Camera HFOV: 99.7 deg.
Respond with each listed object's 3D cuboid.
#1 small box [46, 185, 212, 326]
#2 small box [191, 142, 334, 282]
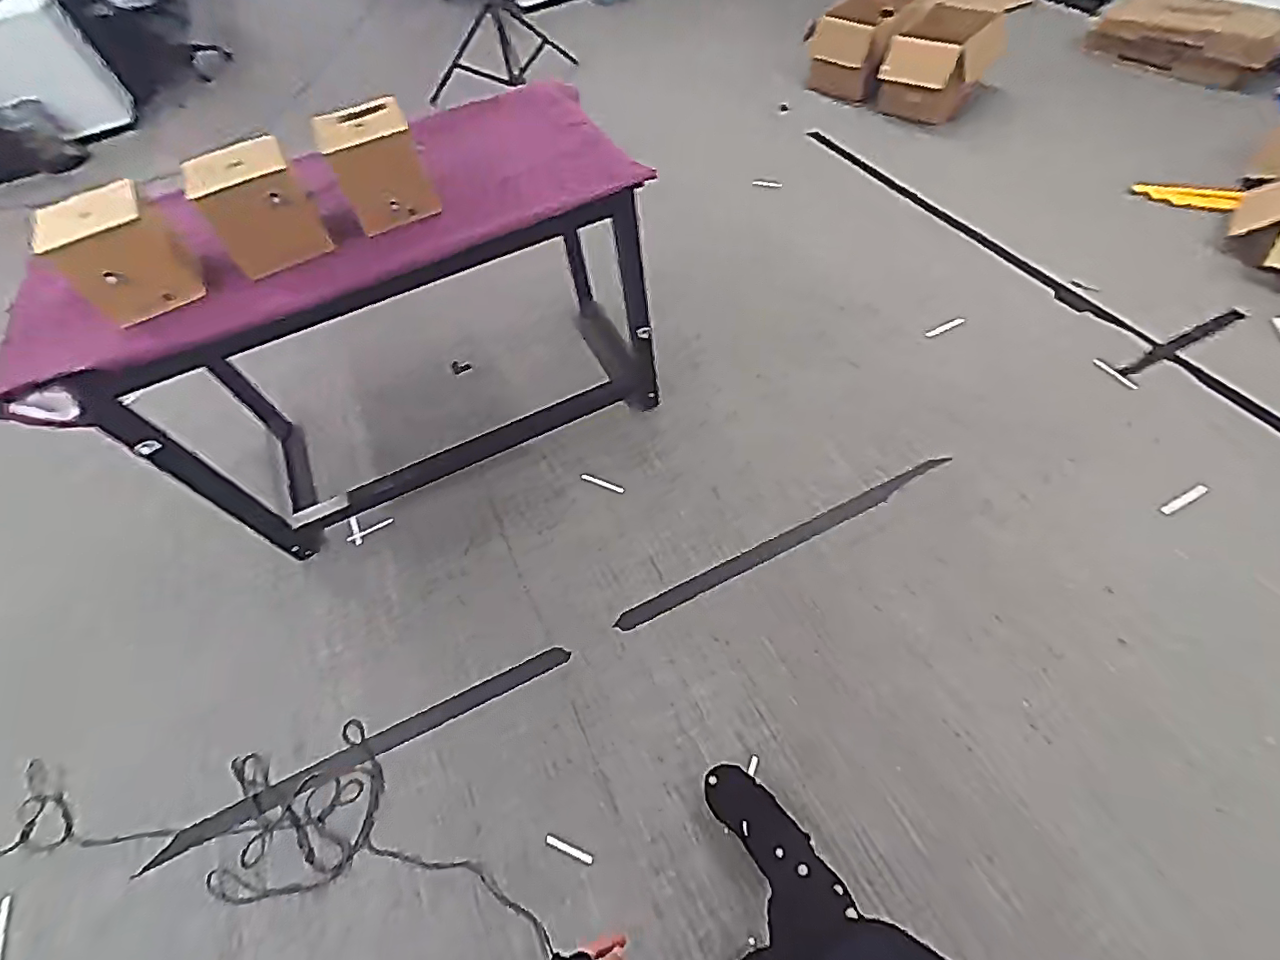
[{"bbox_3d":[-0.968,-0.422,1.038,0.168,0.176,0.179,-31,58,-13],"label":"small box"},{"bbox_3d":[-0.741,-0.532,1.079,0.179,0.176,0.168,-28,57,-12],"label":"small box"}]
